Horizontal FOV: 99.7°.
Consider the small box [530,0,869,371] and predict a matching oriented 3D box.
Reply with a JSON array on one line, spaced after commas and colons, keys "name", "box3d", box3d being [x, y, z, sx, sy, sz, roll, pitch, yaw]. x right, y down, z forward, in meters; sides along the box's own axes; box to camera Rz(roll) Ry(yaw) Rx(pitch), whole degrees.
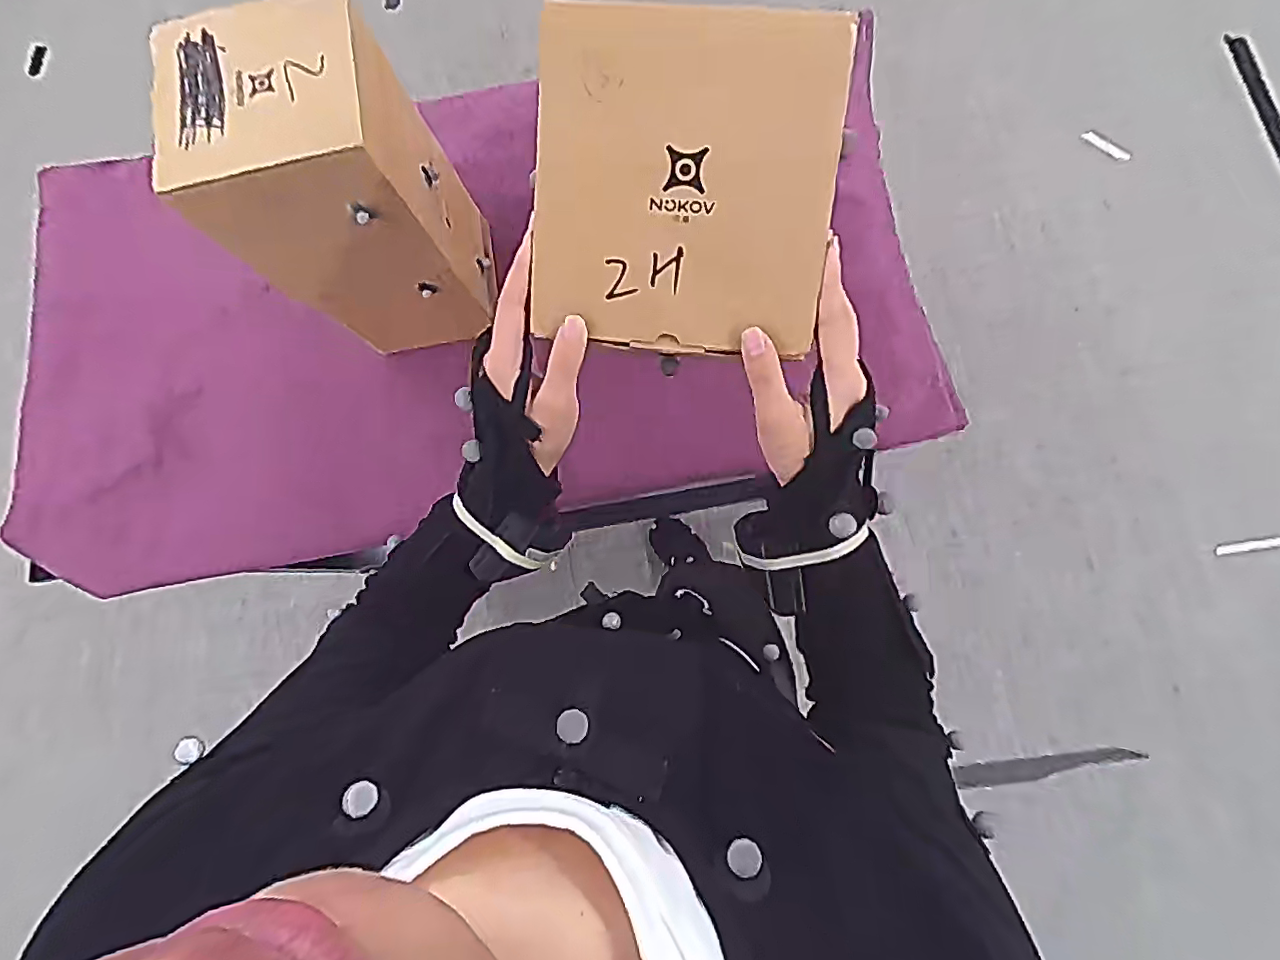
[{"name": "small box", "box3d": [0.033, -0.173, 0.369, 0.168, 0.176, 0.179, 7, 102, 5]}]

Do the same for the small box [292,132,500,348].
[{"name": "small box", "box3d": [-0.293, -0.282, 0.674, 0.179, 0.176, 0.168, -10, 79, 3]}]
